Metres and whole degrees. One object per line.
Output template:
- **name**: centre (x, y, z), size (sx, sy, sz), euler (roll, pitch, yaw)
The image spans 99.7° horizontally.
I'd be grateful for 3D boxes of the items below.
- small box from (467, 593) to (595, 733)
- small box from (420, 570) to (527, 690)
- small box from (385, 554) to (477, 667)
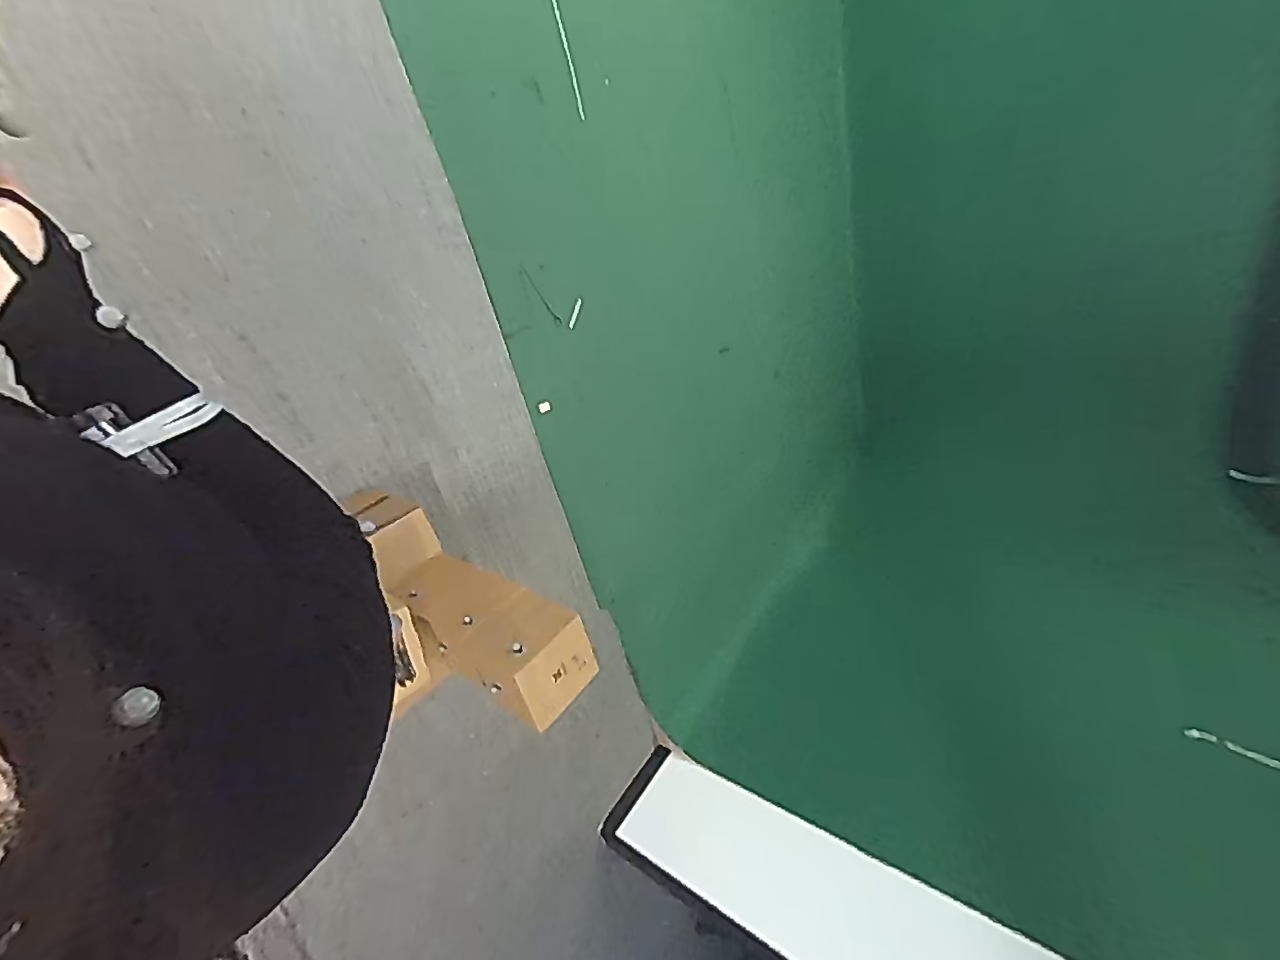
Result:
- **small box**: centre (-0.224, 0.359, 1.091), size (0.179, 0.176, 0.168), euler (-39, 128, -39)
- **small box**: centre (-0.347, 0.325, 1.197), size (0.179, 0.176, 0.168), euler (-40, 128, -37)
- **small box**: centre (-0.477, 0.304, 1.292), size (0.179, 0.176, 0.168), euler (-42, 129, -38)
